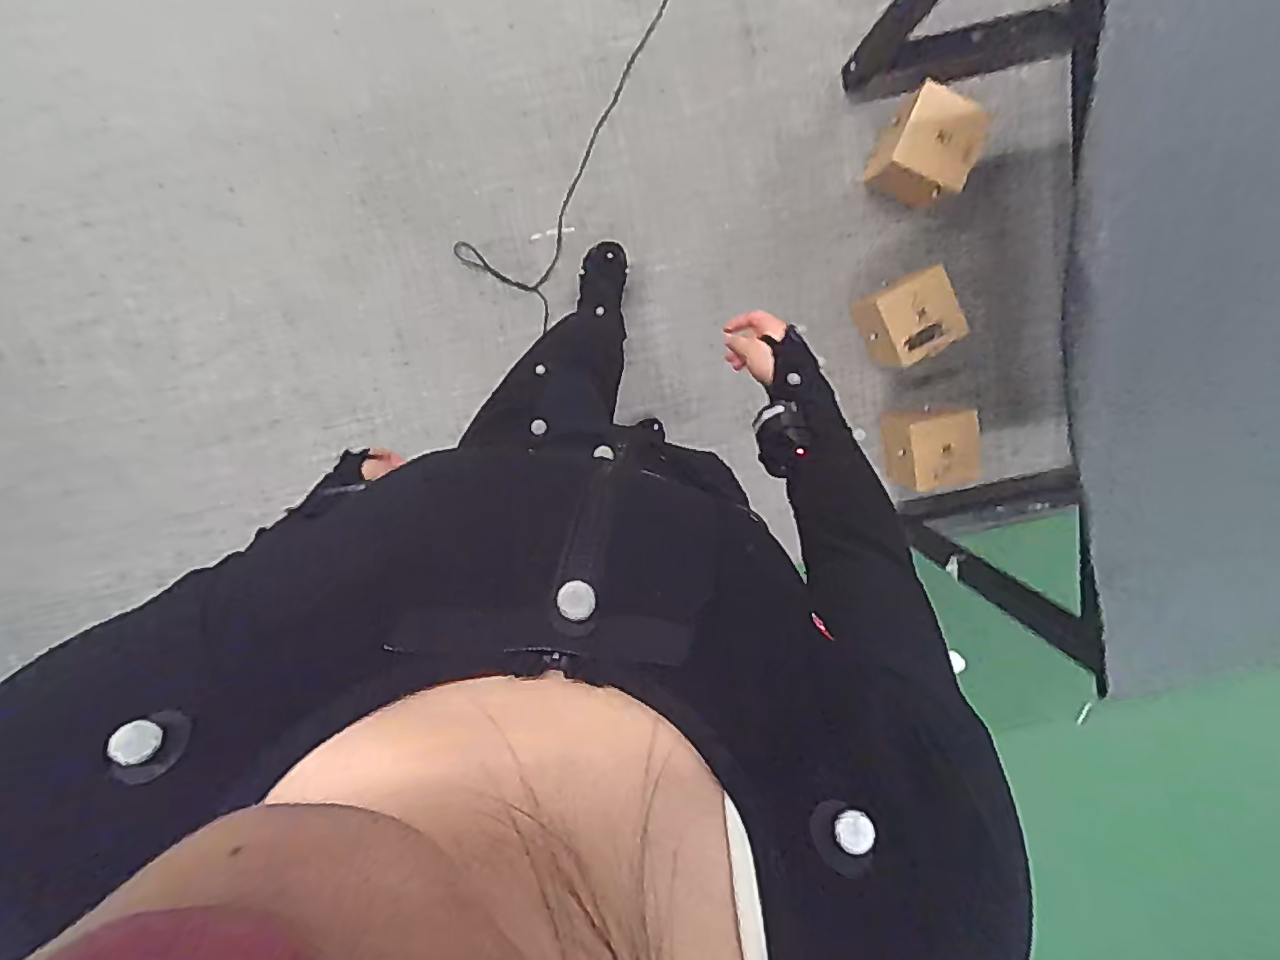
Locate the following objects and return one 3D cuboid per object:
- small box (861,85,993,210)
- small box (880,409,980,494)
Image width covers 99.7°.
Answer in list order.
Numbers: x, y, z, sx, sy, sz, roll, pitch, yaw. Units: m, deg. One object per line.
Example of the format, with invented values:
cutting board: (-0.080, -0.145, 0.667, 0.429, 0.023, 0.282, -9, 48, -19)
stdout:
small box: (0.639, -0.742, 1.232, 0.179, 0.176, 0.168, 20, 102, -7)
small box: (0.736, -0.081, 1.388, 0.168, 0.176, 0.179, -13, 104, 3)
